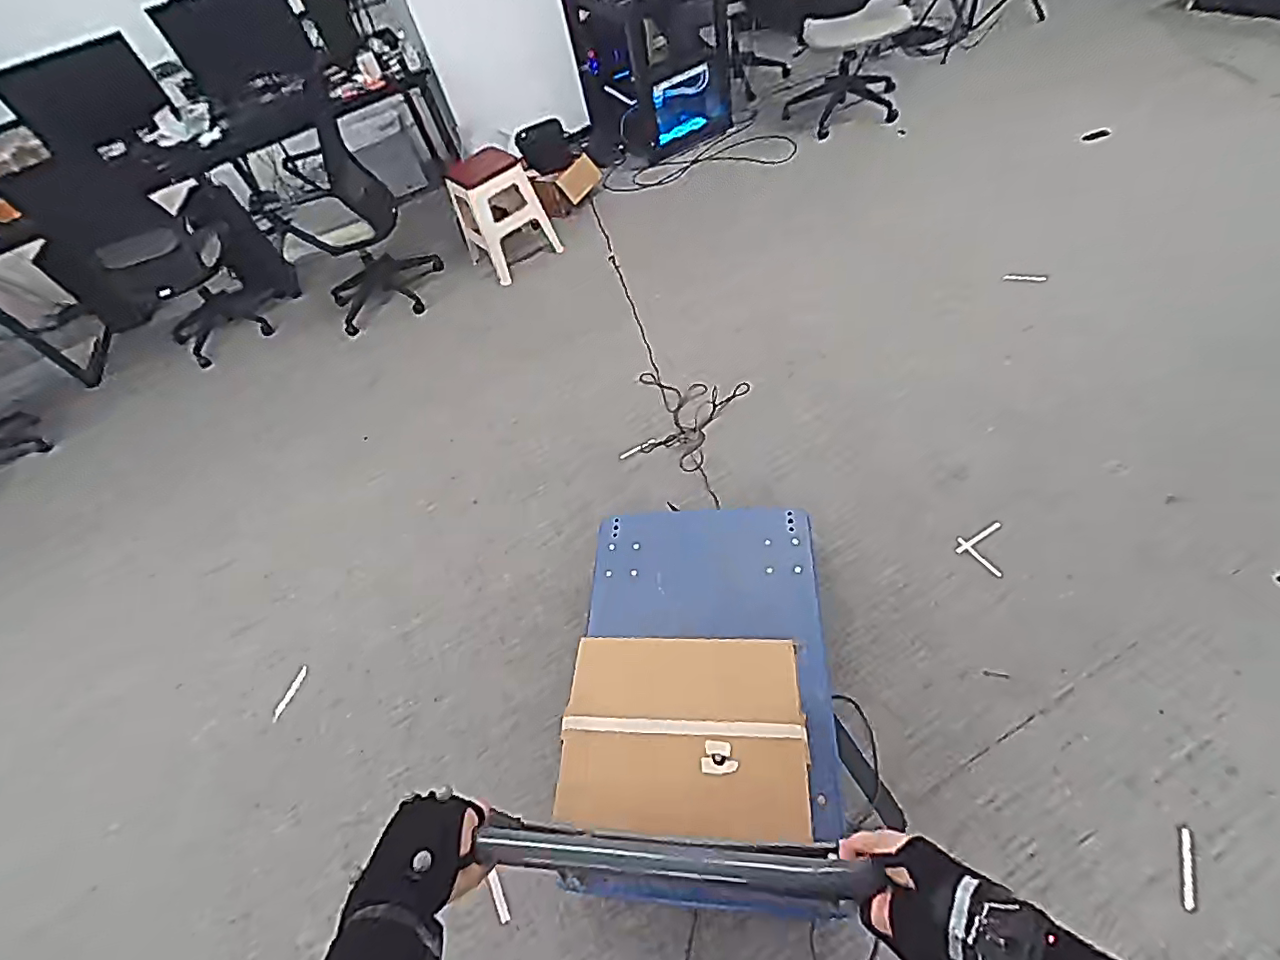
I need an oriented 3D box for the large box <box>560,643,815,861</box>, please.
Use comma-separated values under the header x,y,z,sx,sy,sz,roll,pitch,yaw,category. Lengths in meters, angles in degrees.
x,y,z,sx,sy,sz,roll,pitch,yaw,category
0.099,0.520,1.034,0.408,0.320,0.320,-2,53,11,large box
